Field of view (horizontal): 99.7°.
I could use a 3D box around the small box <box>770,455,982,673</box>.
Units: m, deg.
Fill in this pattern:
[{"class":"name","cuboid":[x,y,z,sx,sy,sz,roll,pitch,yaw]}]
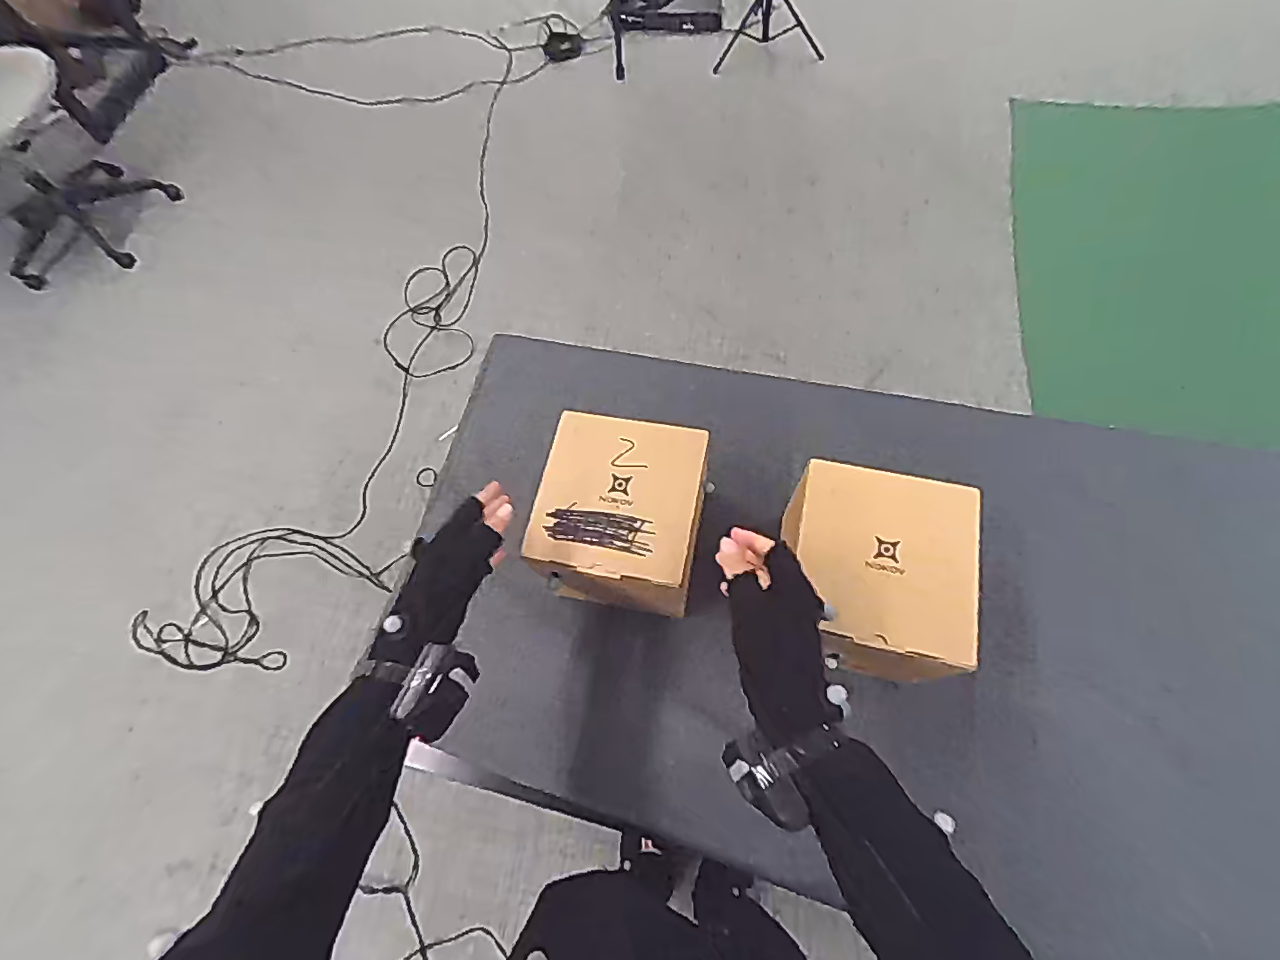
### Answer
[{"class":"small box","cuboid":[0.242,0.098,0.586,0.168,0.176,0.179,11,68,10]}]
